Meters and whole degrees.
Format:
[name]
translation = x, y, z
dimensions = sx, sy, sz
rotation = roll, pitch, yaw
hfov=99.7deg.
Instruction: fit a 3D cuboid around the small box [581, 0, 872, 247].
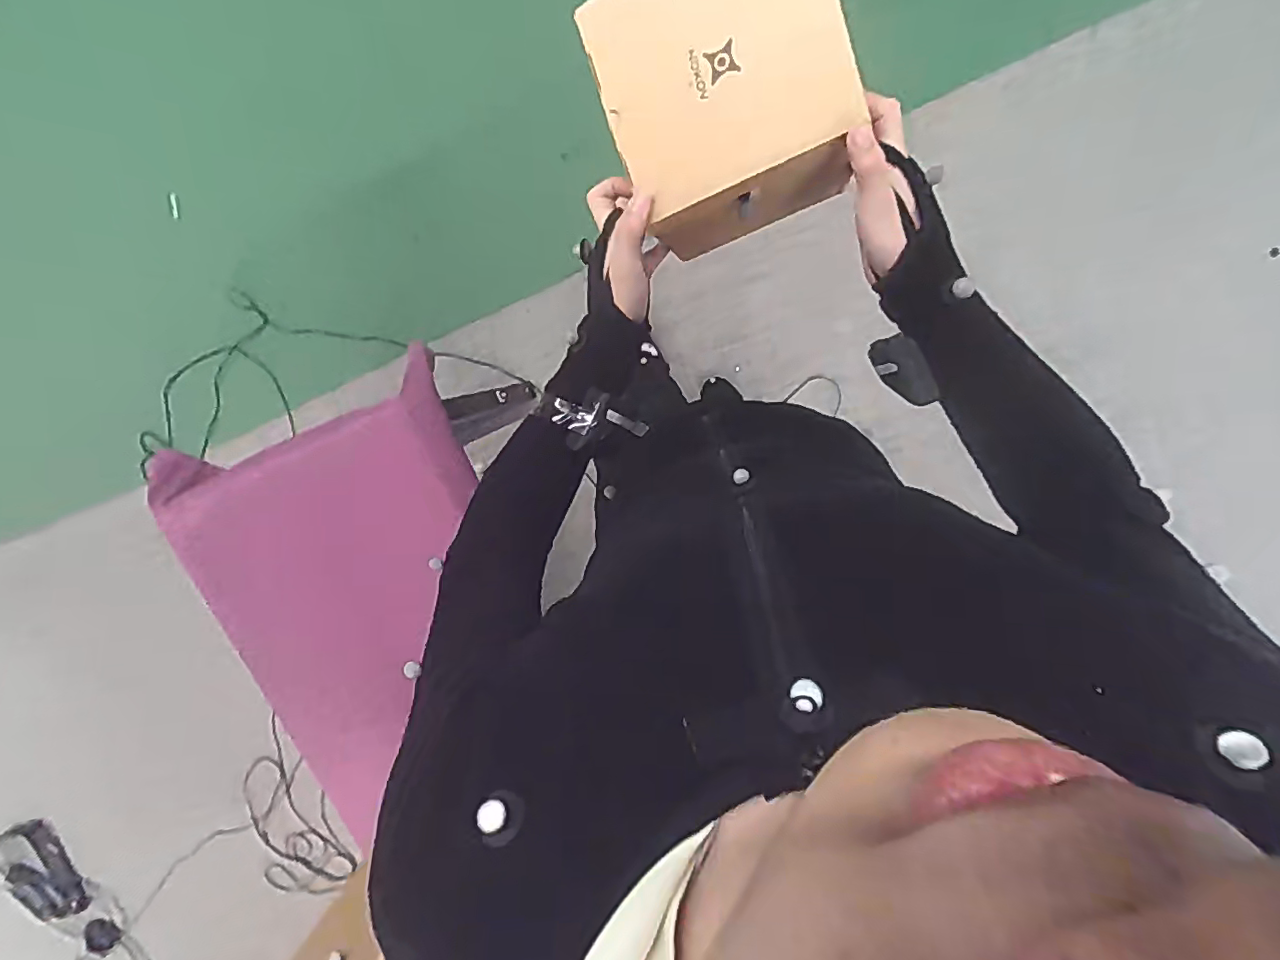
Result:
[small box]
translation = 0.079, -0.323, 0.463
dimensions = 0.179, 0.176, 0.168
rotation = -16, 99, 20
